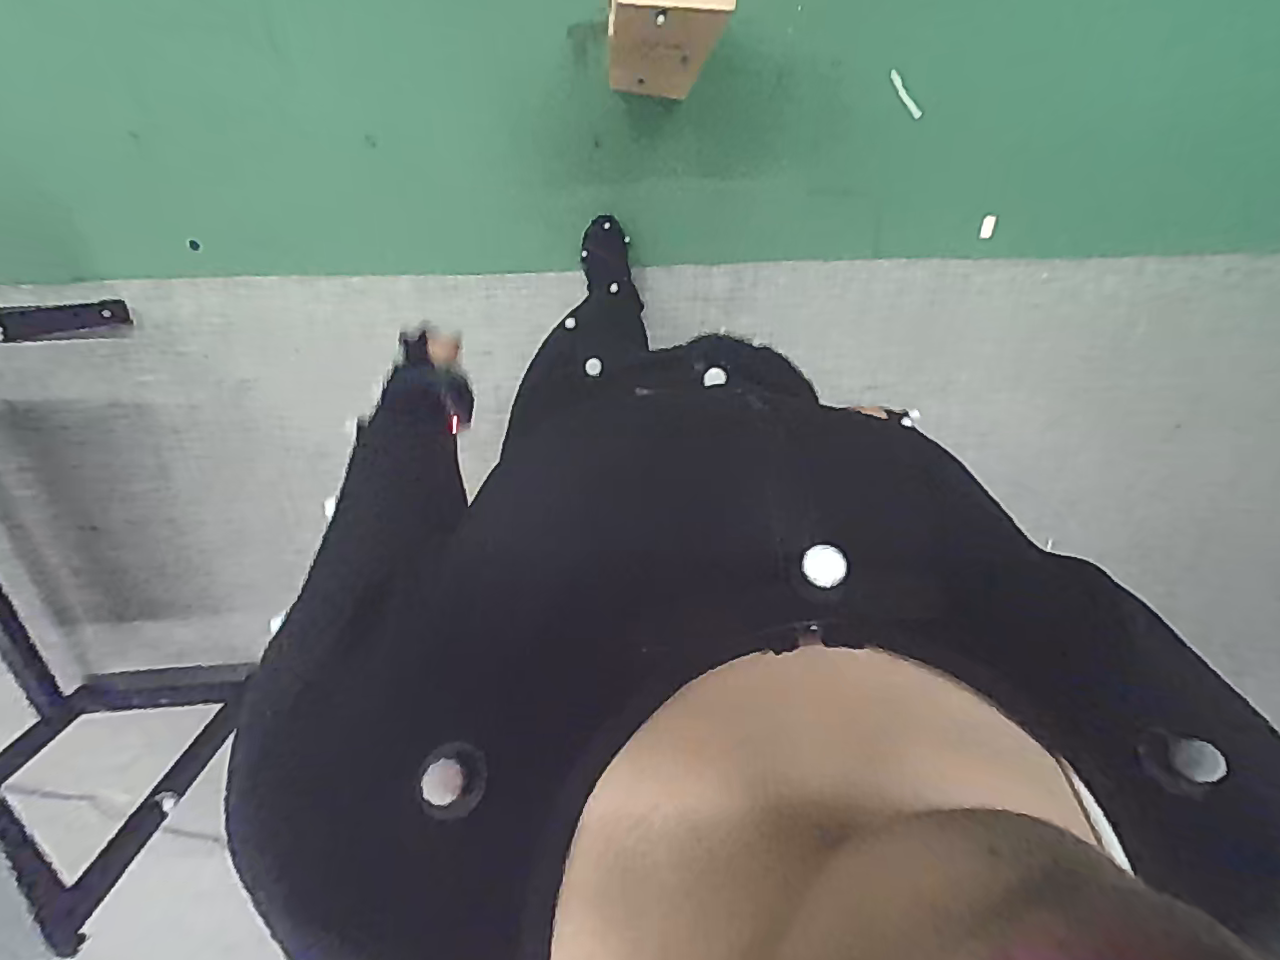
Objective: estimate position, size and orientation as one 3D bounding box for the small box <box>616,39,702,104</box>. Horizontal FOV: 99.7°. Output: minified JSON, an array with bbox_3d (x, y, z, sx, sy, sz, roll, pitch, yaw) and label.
[{"bbox_3d":[0.041,-0.880,1.080,0.168,0.176,0.179,4,112,-6],"label":"small box"}]

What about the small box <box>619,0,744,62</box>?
[{"bbox_3d":[0.056,-0.744,0.781,0.168,0.176,0.179,0,112,-5],"label":"small box"}]
